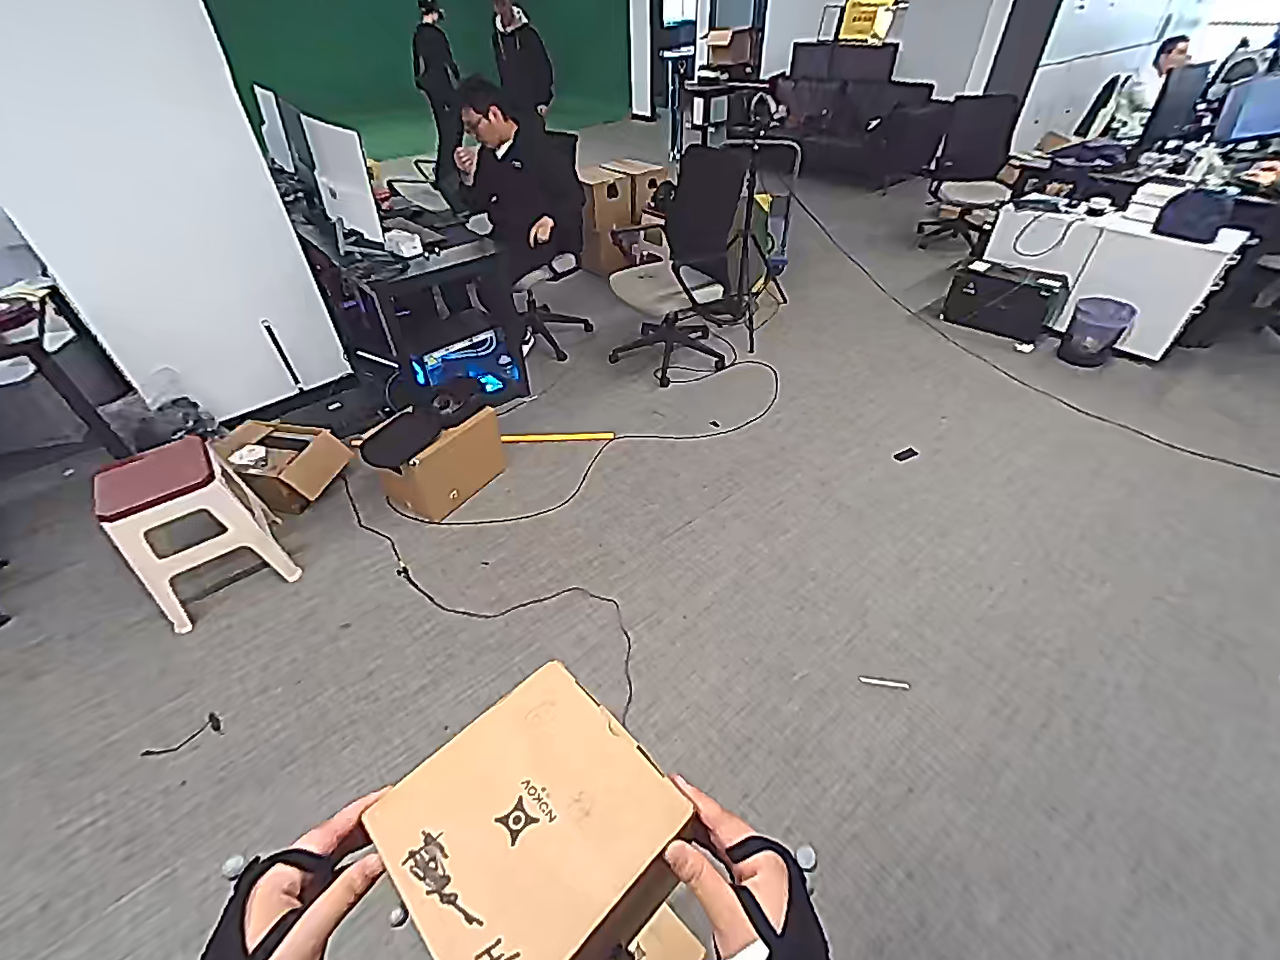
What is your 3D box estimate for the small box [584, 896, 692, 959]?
[{"bbox_3d":[-0.005,0.982,1.067,0.179,0.176,0.168,-33,51,-30],"label":"small box"}]
